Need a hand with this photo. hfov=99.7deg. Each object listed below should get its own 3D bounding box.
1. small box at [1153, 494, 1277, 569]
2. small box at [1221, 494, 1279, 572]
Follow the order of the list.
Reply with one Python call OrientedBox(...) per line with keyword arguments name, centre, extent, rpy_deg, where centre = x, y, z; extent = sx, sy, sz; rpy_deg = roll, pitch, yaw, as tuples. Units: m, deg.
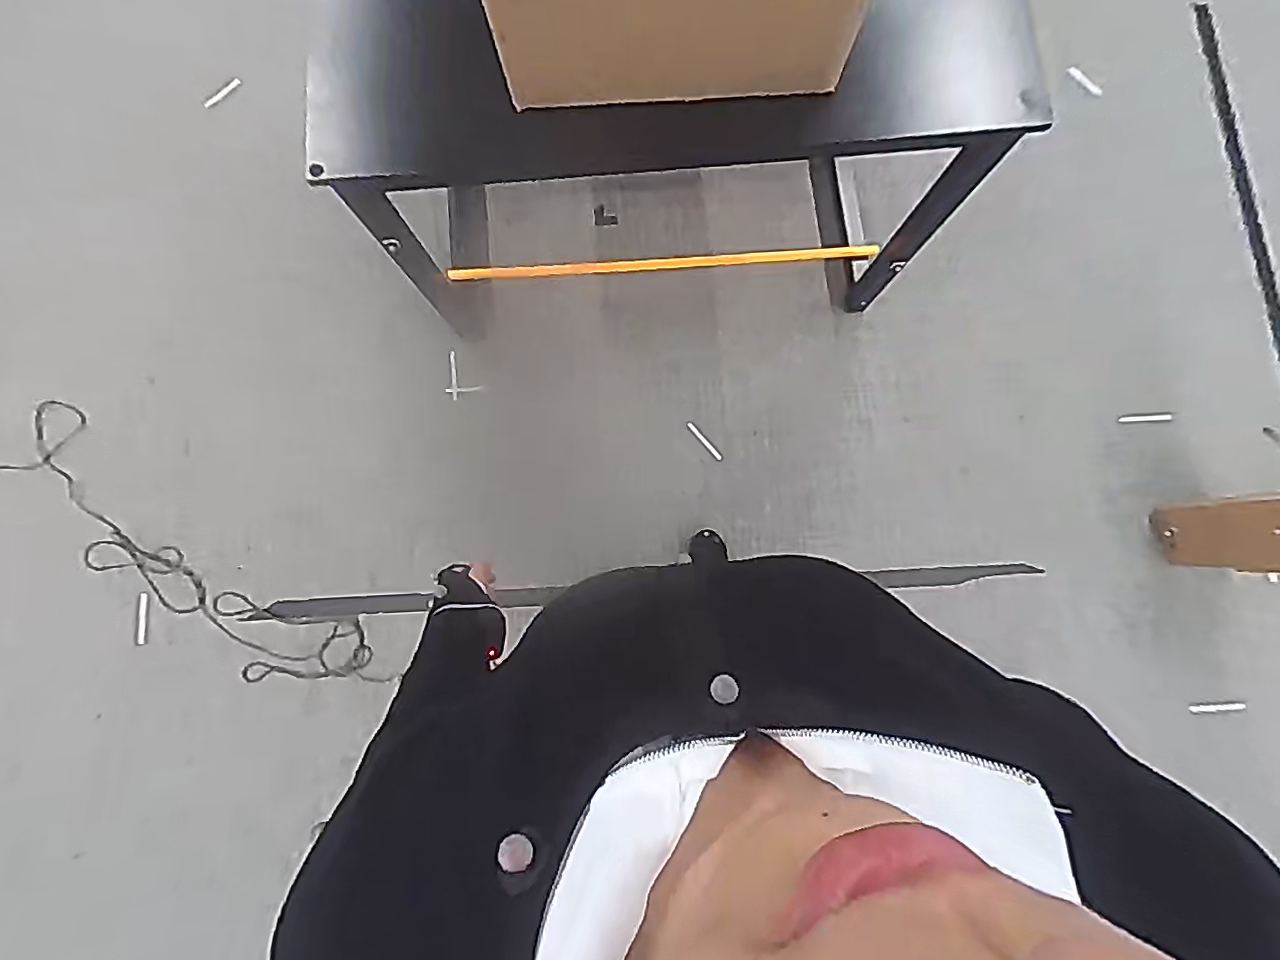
OrientedBox(name="small box", centre=(1.534, 0.136, 1.429), extent=(0.179, 0.176, 0.168), rpy_deg=(-11, 82, 0))
OrientedBox(name="small box", centre=(1.535, 0.120, 1.265), extent=(0.168, 0.176, 0.179), rpy_deg=(-9, 83, 0))
